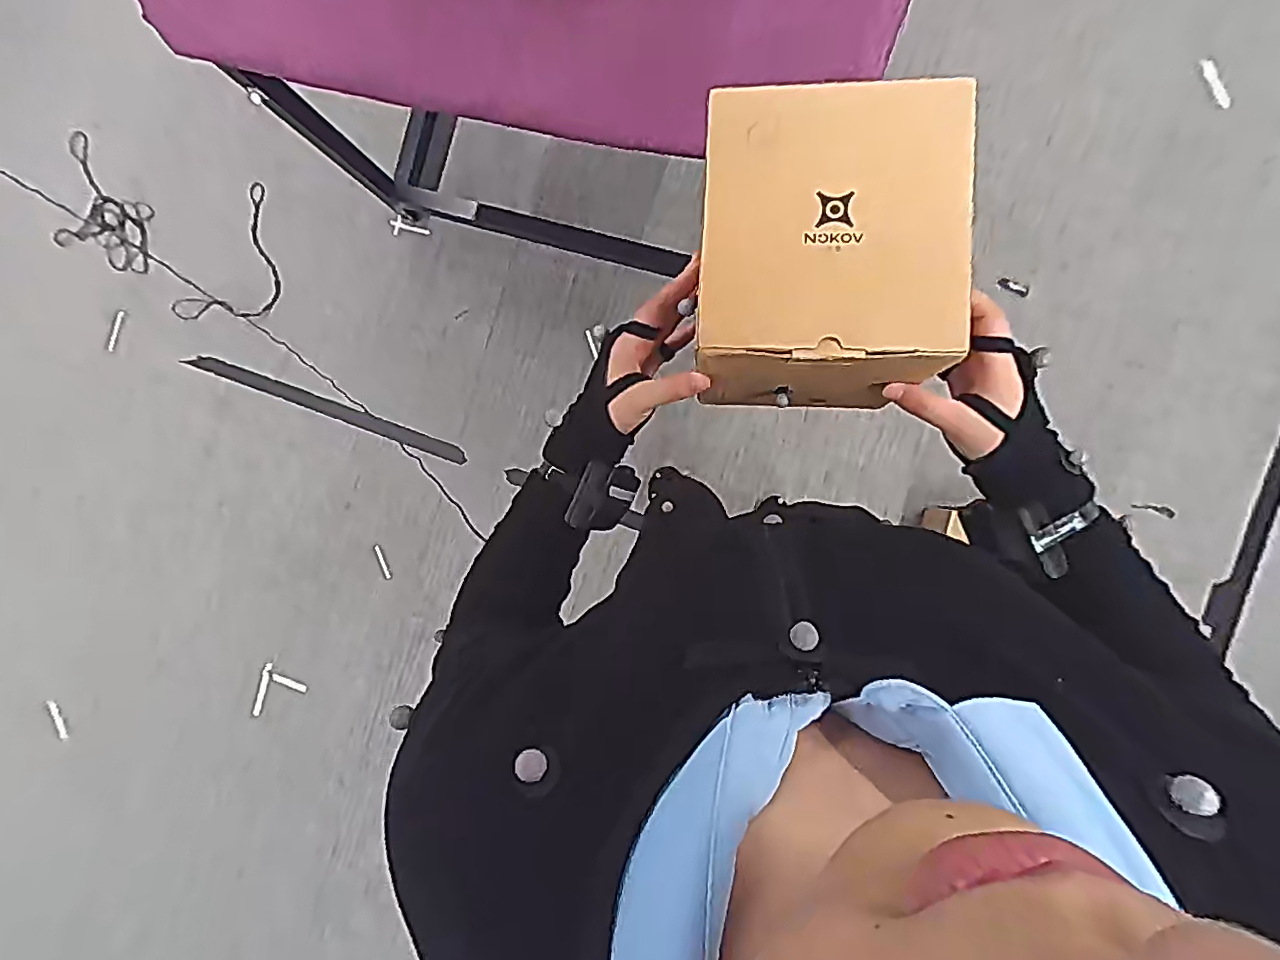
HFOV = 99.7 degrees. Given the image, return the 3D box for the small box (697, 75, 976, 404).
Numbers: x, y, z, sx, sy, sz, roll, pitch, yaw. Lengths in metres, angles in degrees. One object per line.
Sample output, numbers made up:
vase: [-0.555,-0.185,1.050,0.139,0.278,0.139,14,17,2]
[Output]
small box: [0.130,-0.163,0.417,0.168,0.176,0.179,2,88,7]
